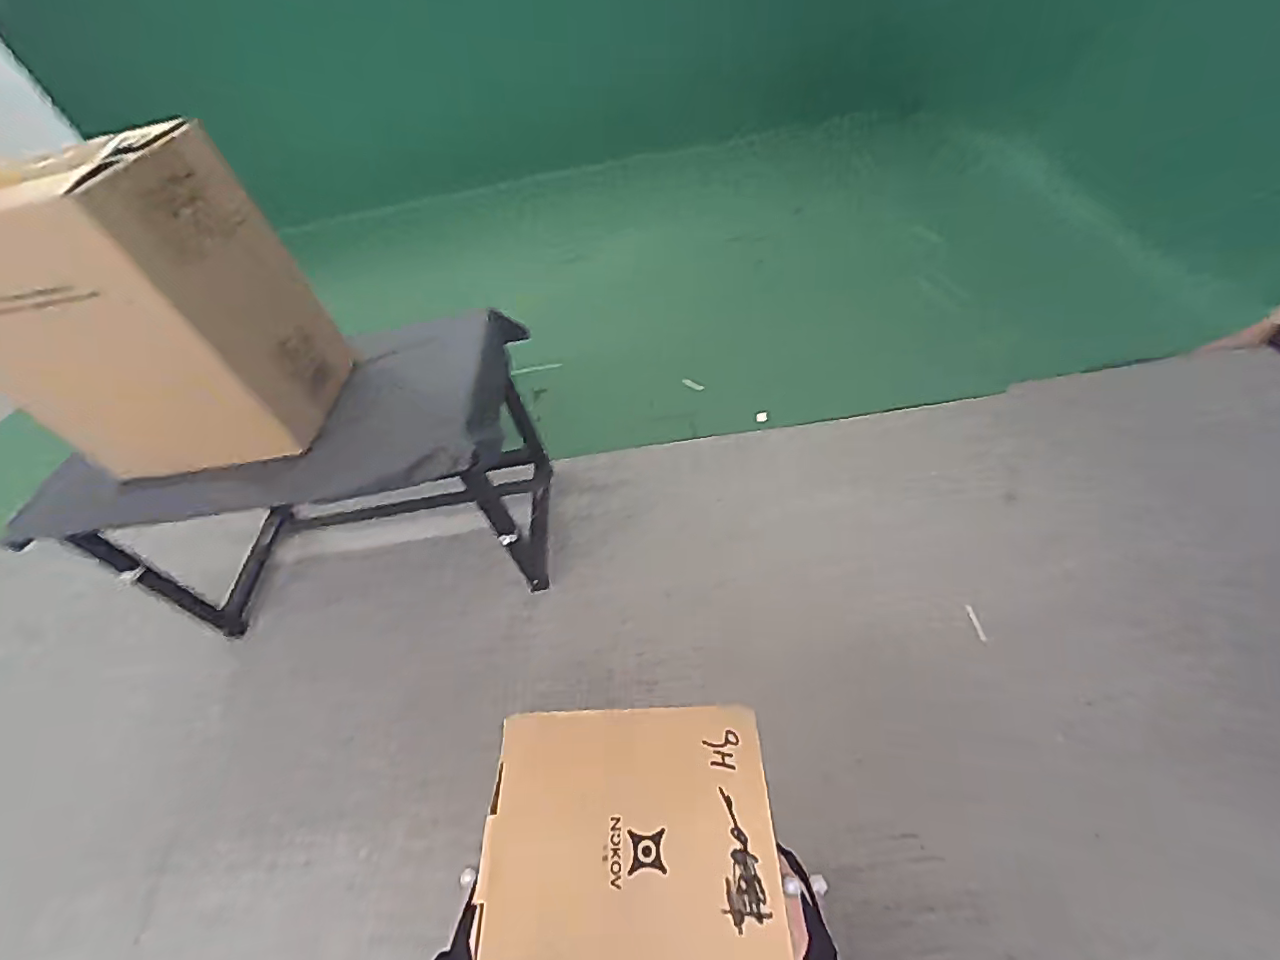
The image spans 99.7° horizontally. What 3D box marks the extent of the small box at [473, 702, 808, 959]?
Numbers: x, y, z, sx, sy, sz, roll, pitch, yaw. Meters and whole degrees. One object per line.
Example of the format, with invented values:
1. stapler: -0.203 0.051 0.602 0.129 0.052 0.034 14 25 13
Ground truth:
1. small box: 0.000 0.268 0.368 0.179 0.176 0.168 -2 47 -1
